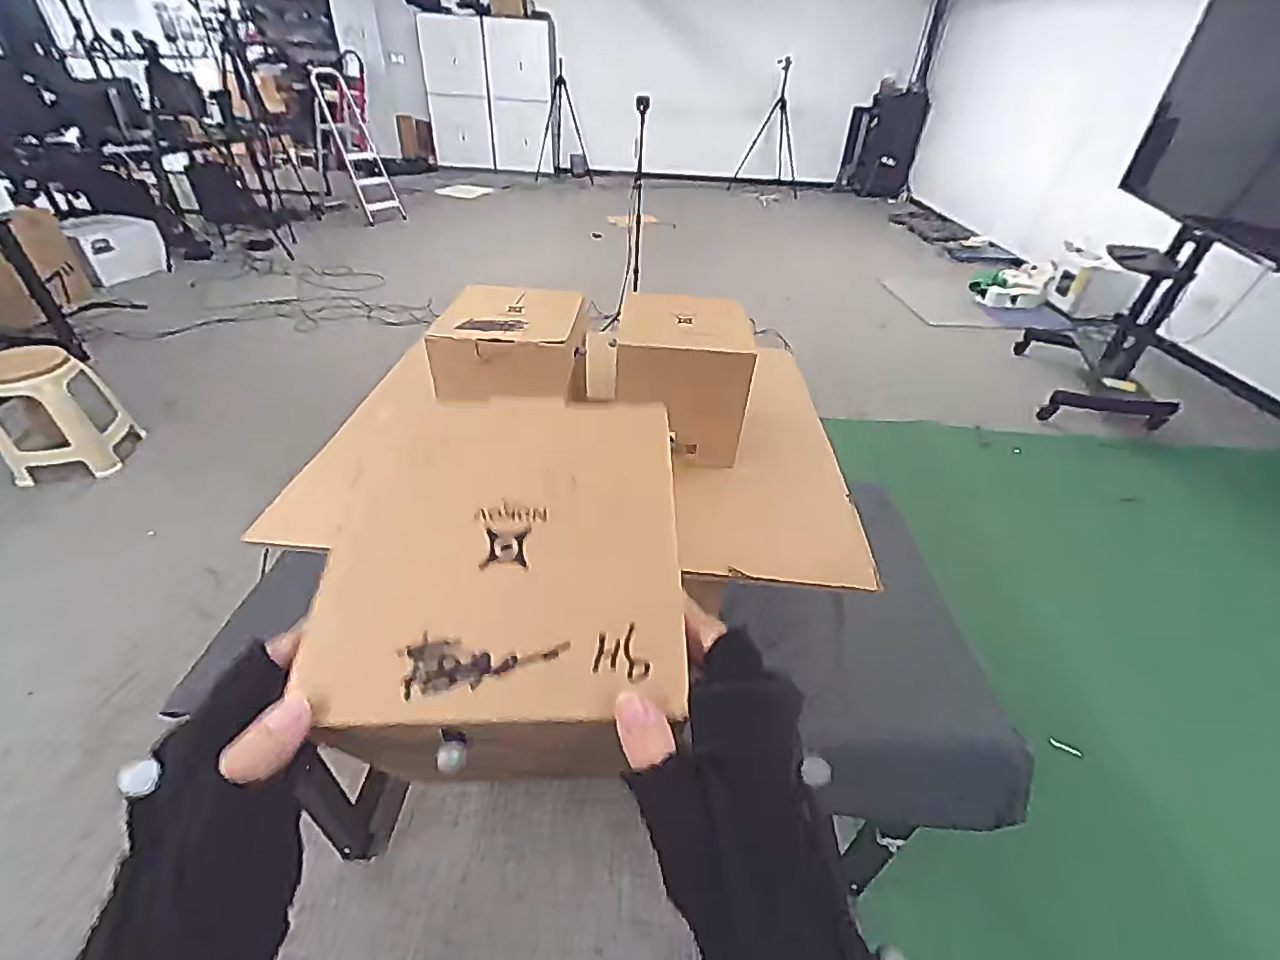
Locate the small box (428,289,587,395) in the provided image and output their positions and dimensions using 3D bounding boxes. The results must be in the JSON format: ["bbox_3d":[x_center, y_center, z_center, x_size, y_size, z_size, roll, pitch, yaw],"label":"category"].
[{"bbox_3d":[-0.164,-0.146,0.740,0.168,0.176,0.179,4,38,1],"label":"small box"}]

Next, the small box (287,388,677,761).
[{"bbox_3d":[-0.070,0.064,0.339,0.168,0.176,0.179,1,54,-3],"label":"small box"}]
